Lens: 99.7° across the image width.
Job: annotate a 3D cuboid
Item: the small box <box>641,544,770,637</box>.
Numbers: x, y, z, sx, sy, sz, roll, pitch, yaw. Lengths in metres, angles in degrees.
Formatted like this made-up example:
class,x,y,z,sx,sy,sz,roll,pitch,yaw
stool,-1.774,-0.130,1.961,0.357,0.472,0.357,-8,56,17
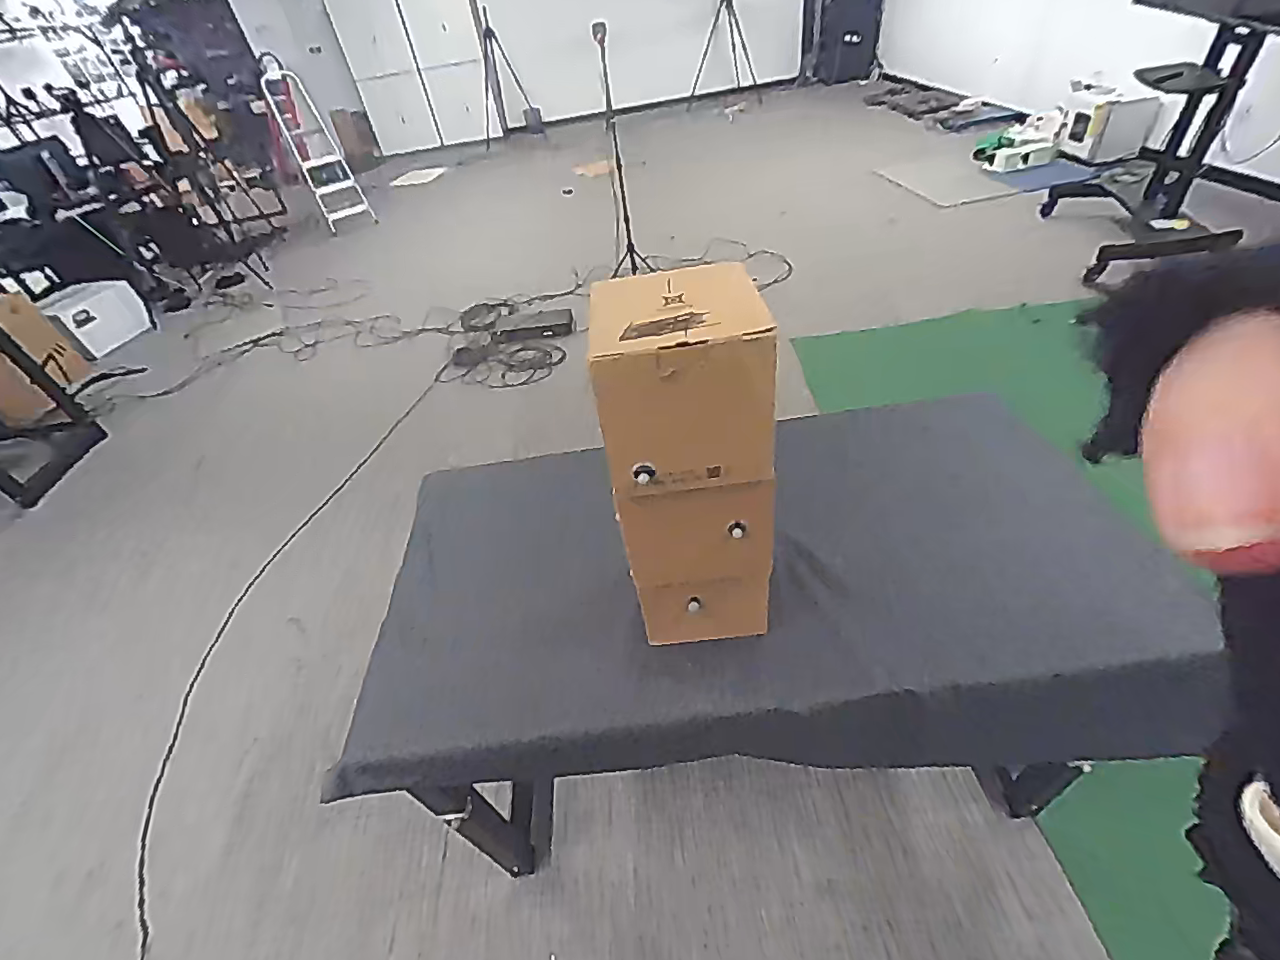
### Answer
class,x,y,z,sx,sy,sz,roll,pitch,yaw
small box,0.090,0.117,0.816,0.179,0.176,0.168,-9,41,1

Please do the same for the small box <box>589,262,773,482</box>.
class,x,y,z,sx,sy,sz,roll,pitch,yaw
small box,0.044,-0.110,0.582,0.168,0.176,0.179,-7,41,3

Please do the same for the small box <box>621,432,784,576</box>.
class,x,y,z,sx,sy,sz,roll,pitch,yaw
small box,0.067,-0.002,0.680,0.179,0.176,0.168,-10,42,0
